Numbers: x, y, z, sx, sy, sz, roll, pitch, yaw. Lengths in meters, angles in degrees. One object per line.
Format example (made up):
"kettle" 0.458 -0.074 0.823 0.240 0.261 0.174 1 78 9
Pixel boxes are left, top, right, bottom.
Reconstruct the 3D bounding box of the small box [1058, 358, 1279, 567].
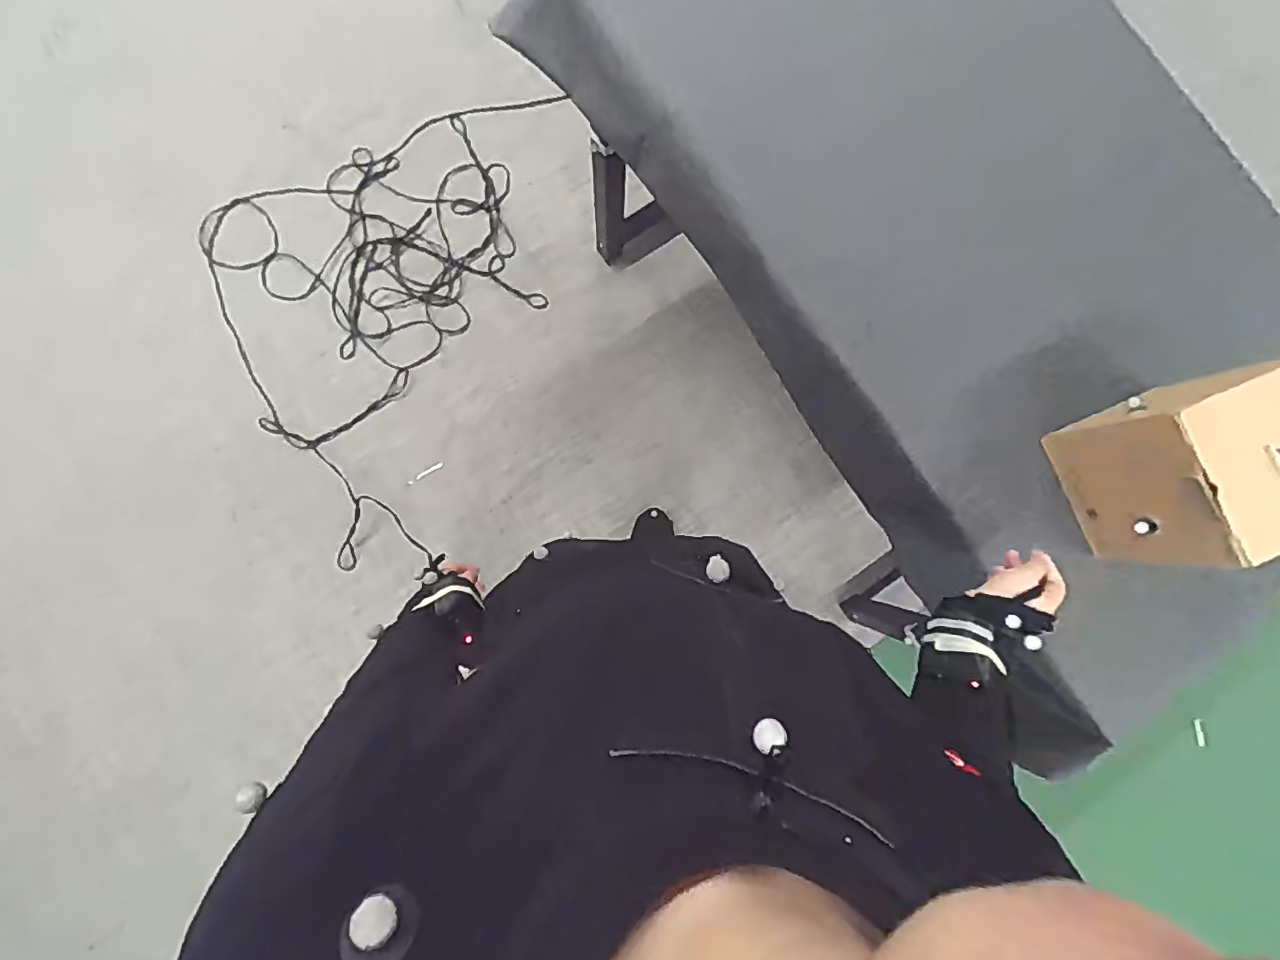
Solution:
"small box" 0.617 -0.016 0.600 0.179 0.176 0.168 -23 88 -6
